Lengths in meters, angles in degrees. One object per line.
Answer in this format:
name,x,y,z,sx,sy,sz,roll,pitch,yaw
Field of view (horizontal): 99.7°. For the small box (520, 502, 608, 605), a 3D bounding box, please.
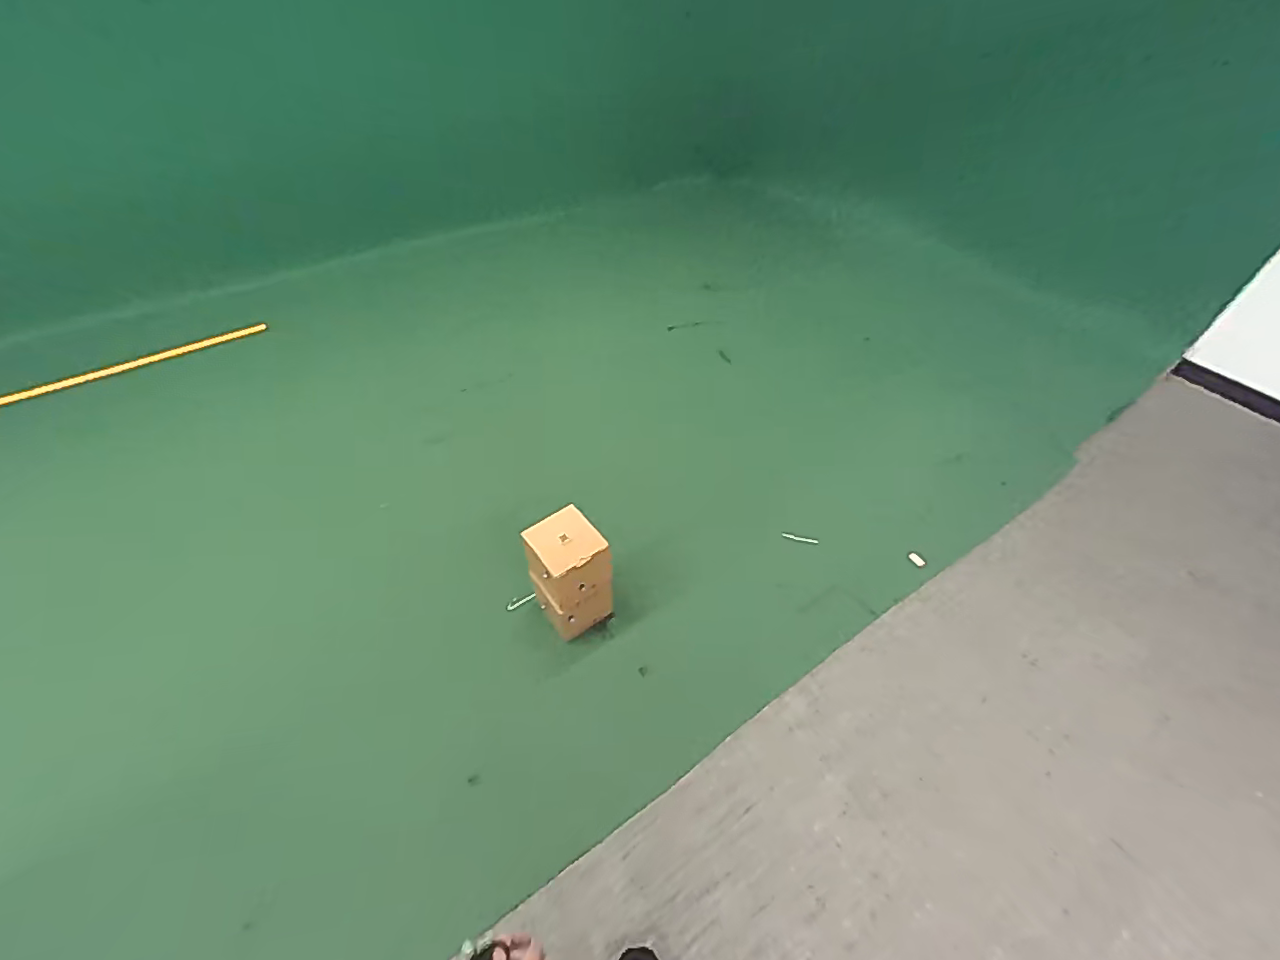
small box,-0.201,0.200,1.454,0.168,0.176,0.179,-30,56,-26
